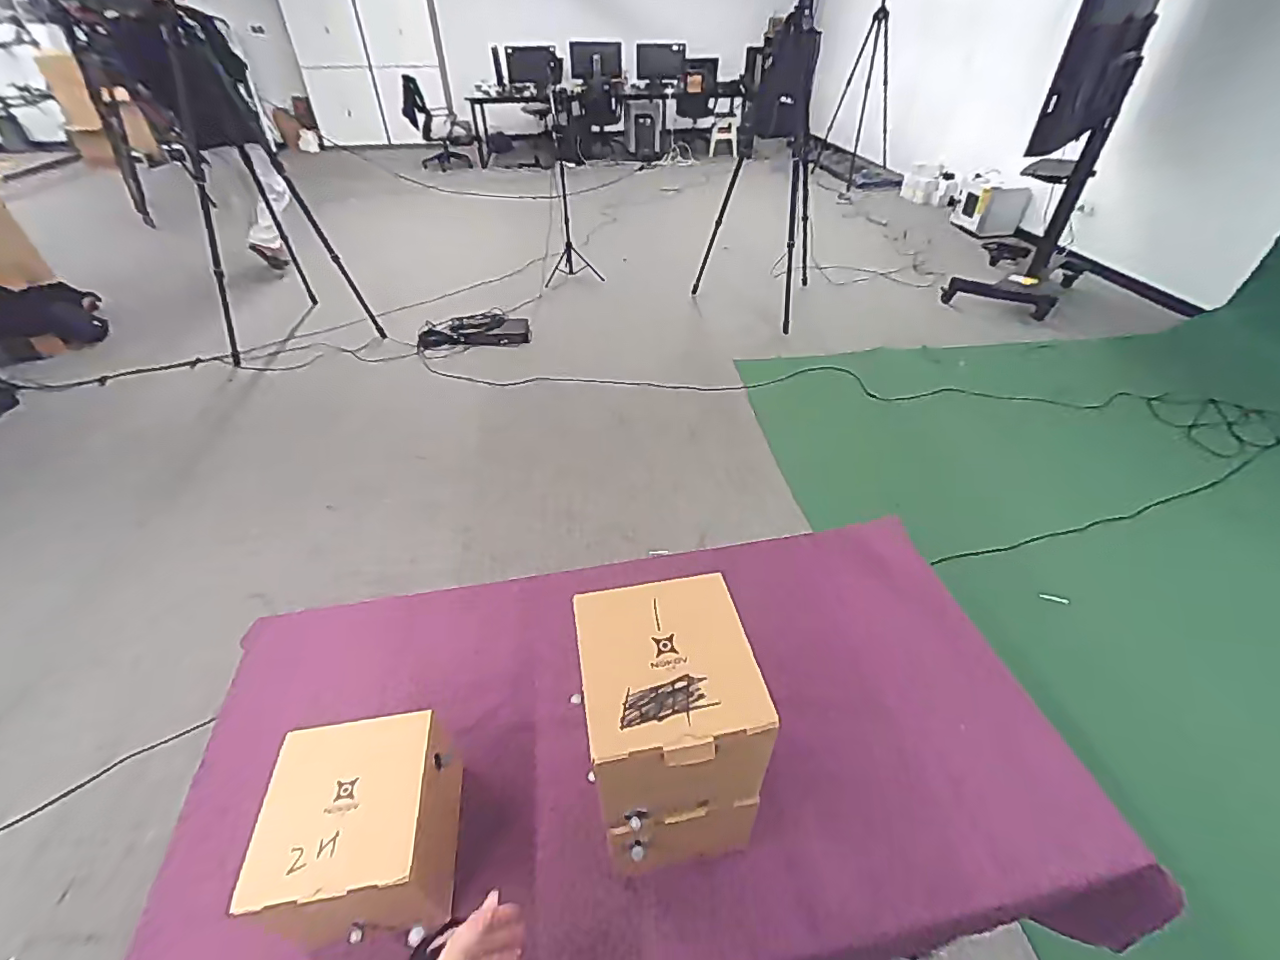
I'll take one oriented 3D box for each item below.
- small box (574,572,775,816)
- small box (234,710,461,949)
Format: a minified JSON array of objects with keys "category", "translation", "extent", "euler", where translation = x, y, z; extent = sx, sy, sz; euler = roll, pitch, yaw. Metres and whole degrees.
[{"category":"small box","translation":[0.027,0.227,0.571],"extent":[0.168,0.176,0.179],"euler":[-8,39,-8]},{"category":"small box","translation":[-0.312,0.401,0.626],"extent":[0.168,0.176,0.179],"euler":[-7,41,-7]}]
